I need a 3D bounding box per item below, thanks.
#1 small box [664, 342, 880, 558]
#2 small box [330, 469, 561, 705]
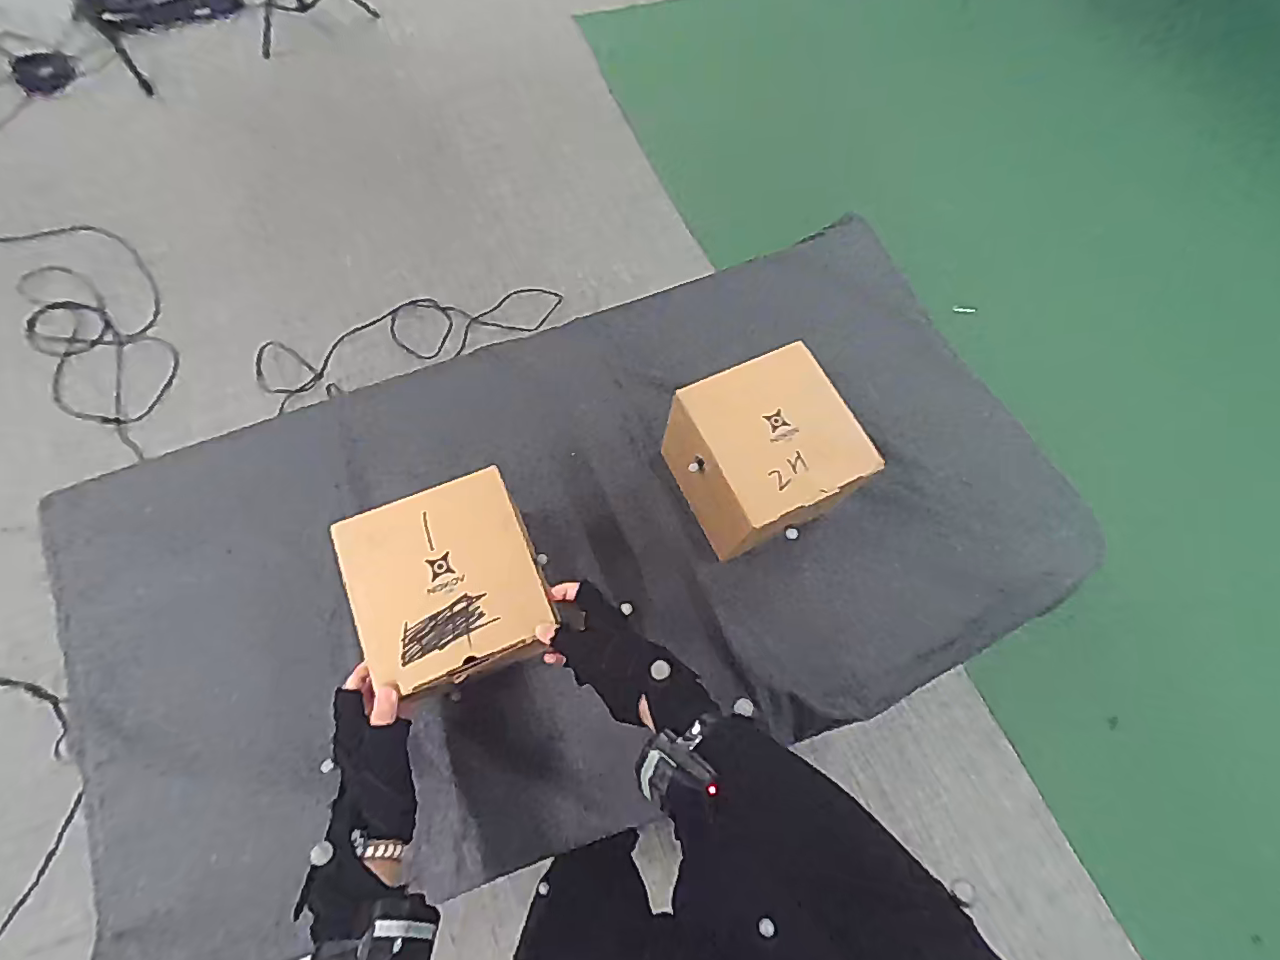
[{"bbox_3d":[0.140,-0.028,0.654,0.168,0.176,0.179,-24,73,-11],"label":"small box"},{"bbox_3d":[-0.192,0.117,0.578,0.168,0.176,0.179,-21,72,-12],"label":"small box"}]
